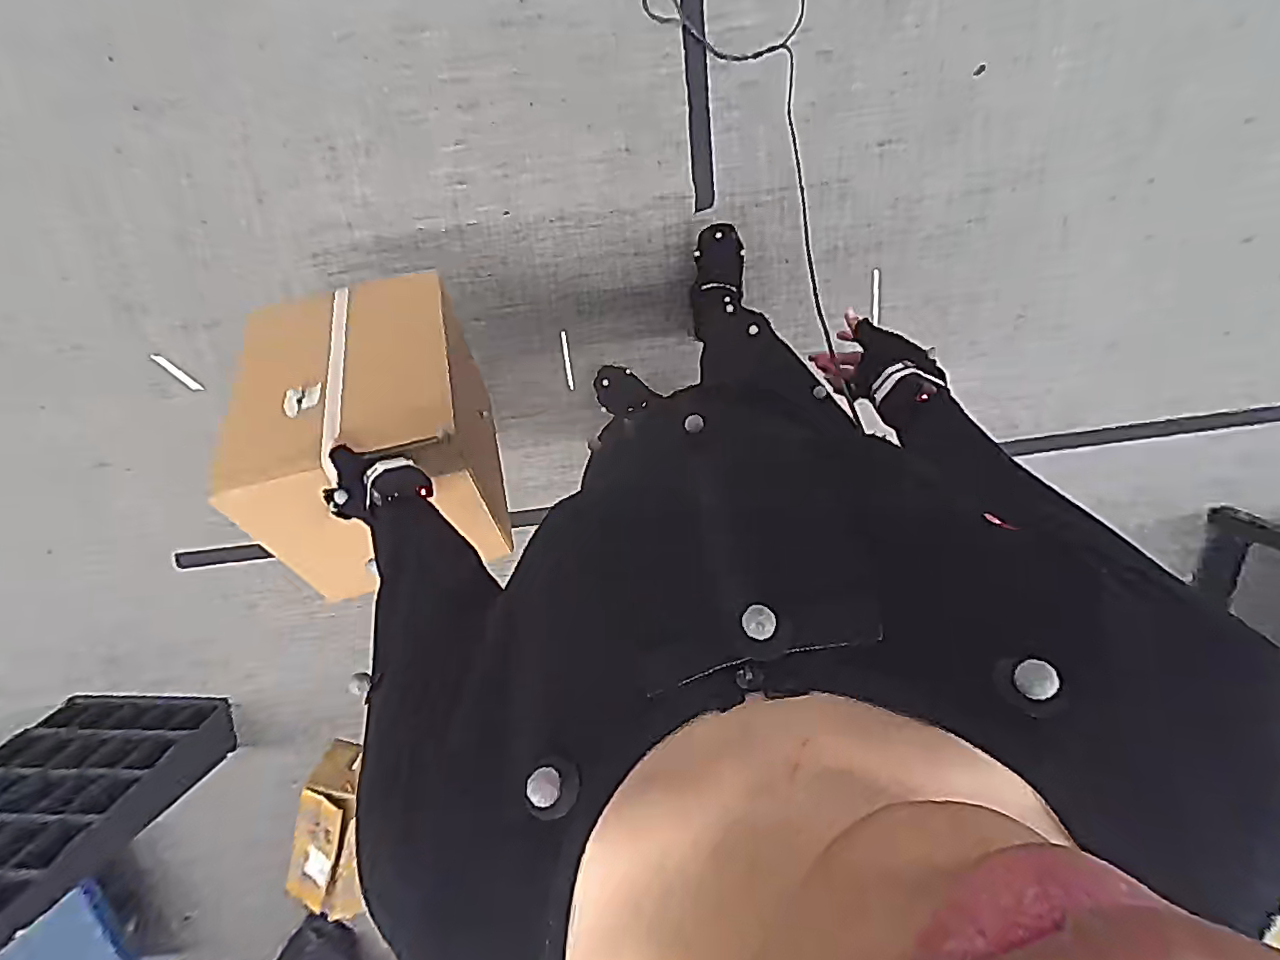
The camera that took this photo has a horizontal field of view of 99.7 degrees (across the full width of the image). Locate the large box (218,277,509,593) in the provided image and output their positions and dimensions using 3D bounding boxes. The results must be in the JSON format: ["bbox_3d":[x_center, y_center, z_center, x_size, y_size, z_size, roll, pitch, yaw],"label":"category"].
[{"bbox_3d":[-0.434,-0.081,0.929,0.320,0.408,0.320,-15,144,-7],"label":"large box"}]
